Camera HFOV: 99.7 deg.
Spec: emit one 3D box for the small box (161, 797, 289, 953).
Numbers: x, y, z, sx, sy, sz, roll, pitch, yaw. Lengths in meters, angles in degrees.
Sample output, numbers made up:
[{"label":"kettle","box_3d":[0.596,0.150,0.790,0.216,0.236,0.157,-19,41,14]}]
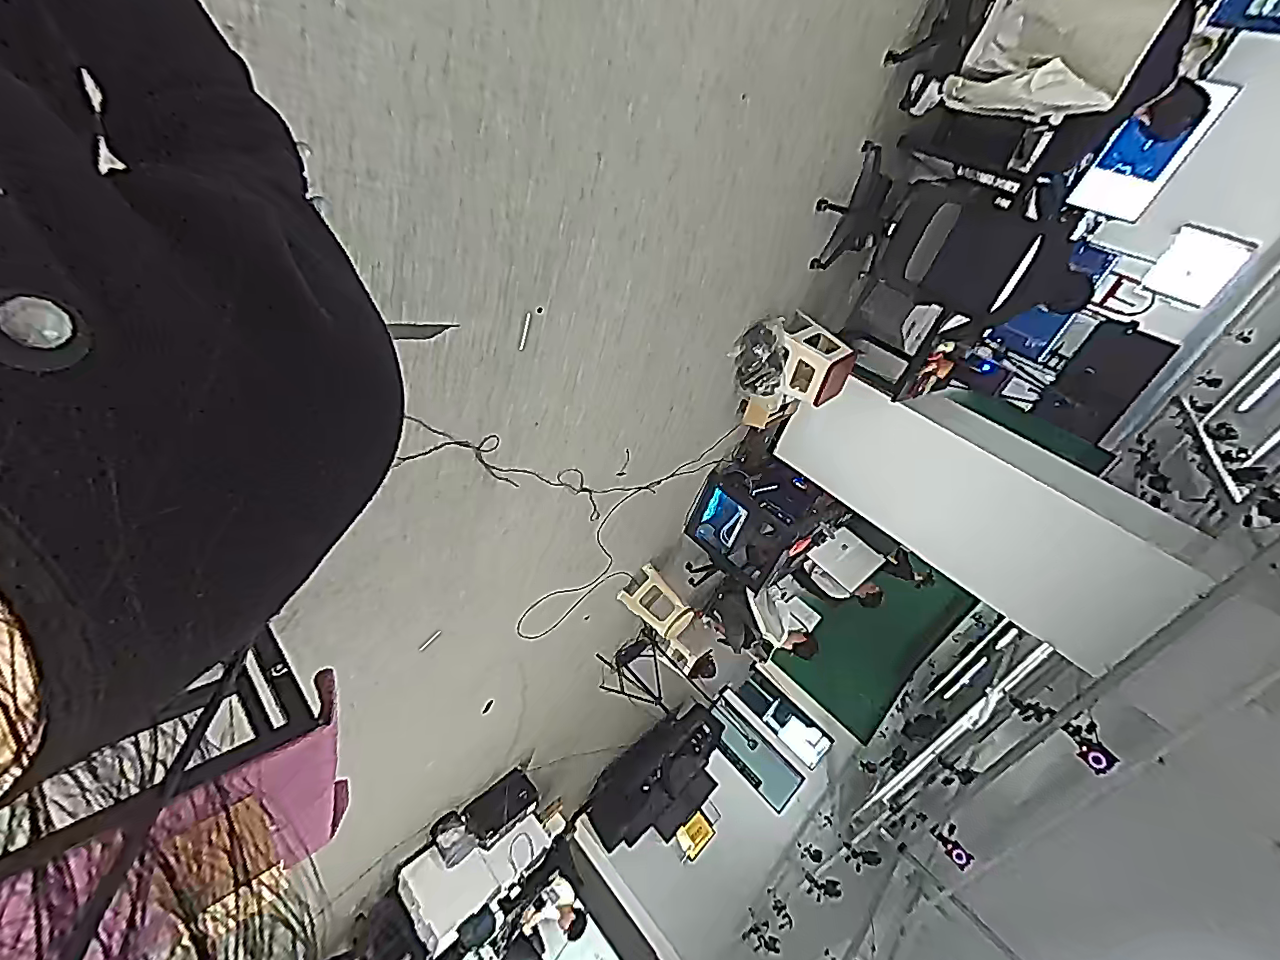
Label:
[{"label":"small box","box_3d":[-0.868,0.819,1.133,0.179,0.176,0.168,-20,142,-44]}]
